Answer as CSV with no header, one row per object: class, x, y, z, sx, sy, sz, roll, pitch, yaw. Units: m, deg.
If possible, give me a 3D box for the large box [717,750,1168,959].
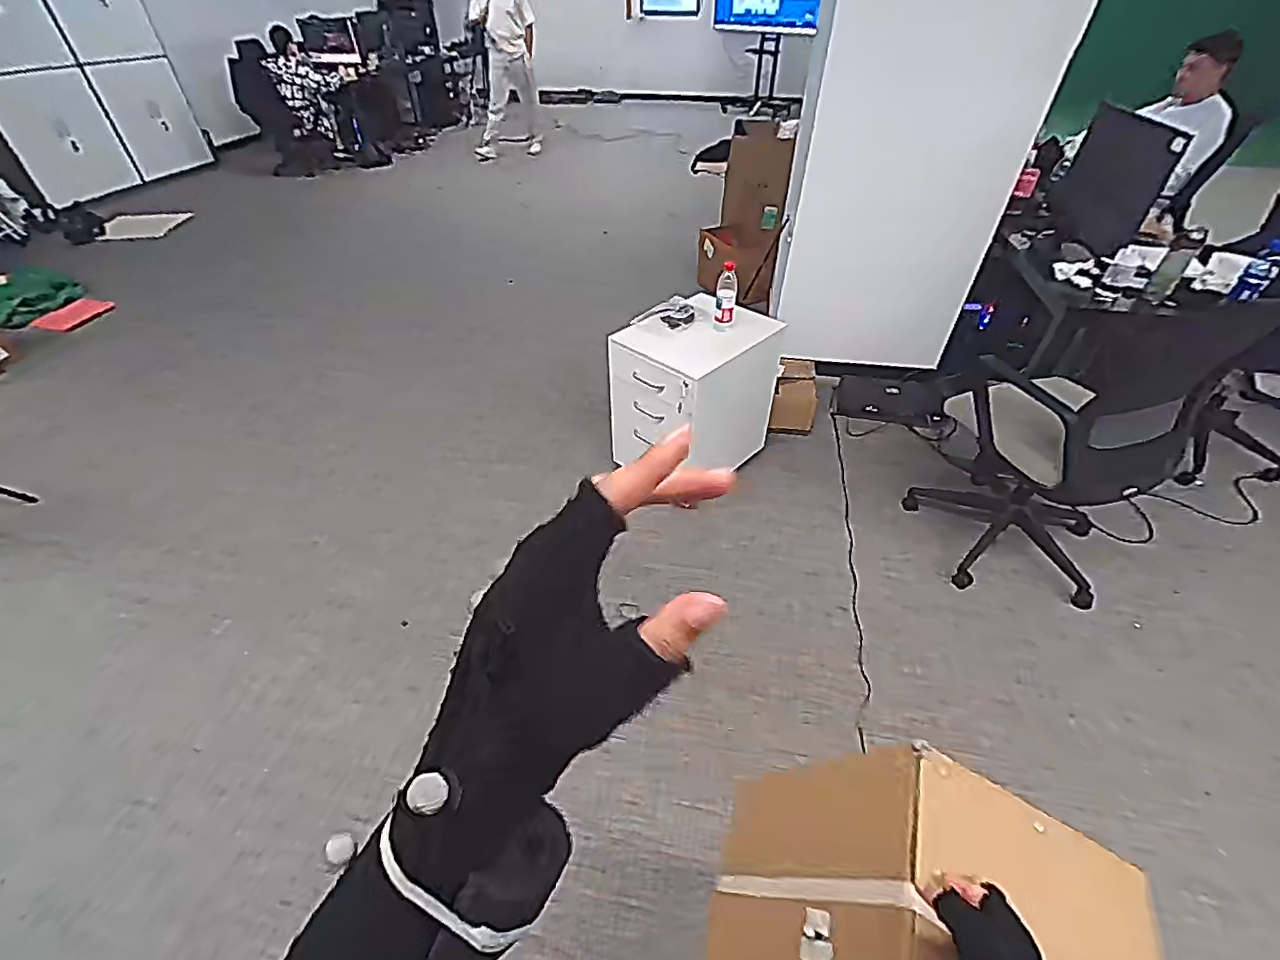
large box,0.343,0.596,0.681,0.320,0.408,0.320,30,51,-1
